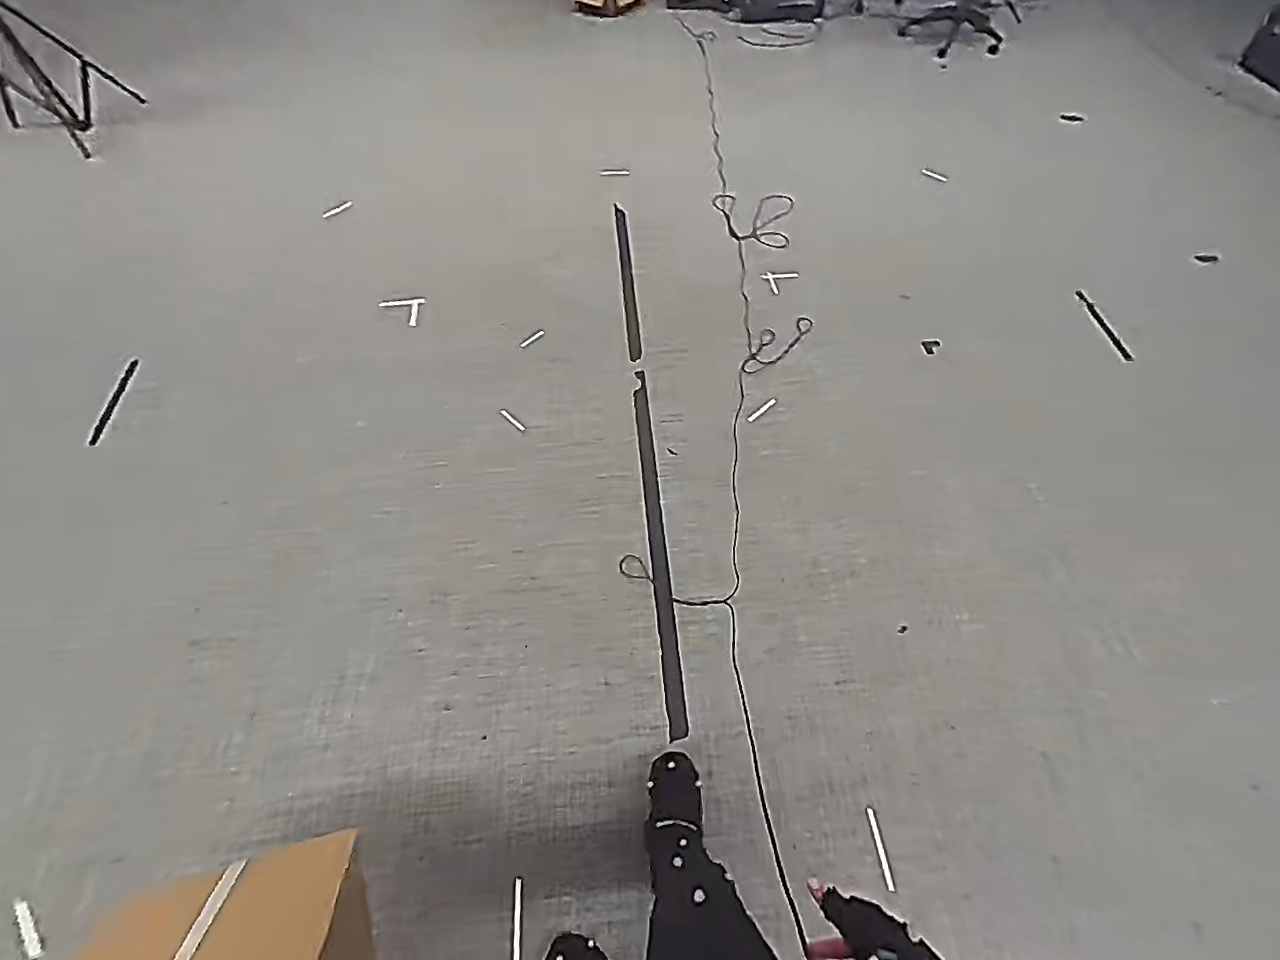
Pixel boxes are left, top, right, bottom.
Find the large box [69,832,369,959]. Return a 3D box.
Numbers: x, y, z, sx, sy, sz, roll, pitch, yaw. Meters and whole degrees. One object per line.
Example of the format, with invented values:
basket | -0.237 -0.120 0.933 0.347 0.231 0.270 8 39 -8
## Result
large box | -0.518 0.723 0.636 0.320 0.408 0.320 -7 92 -18
